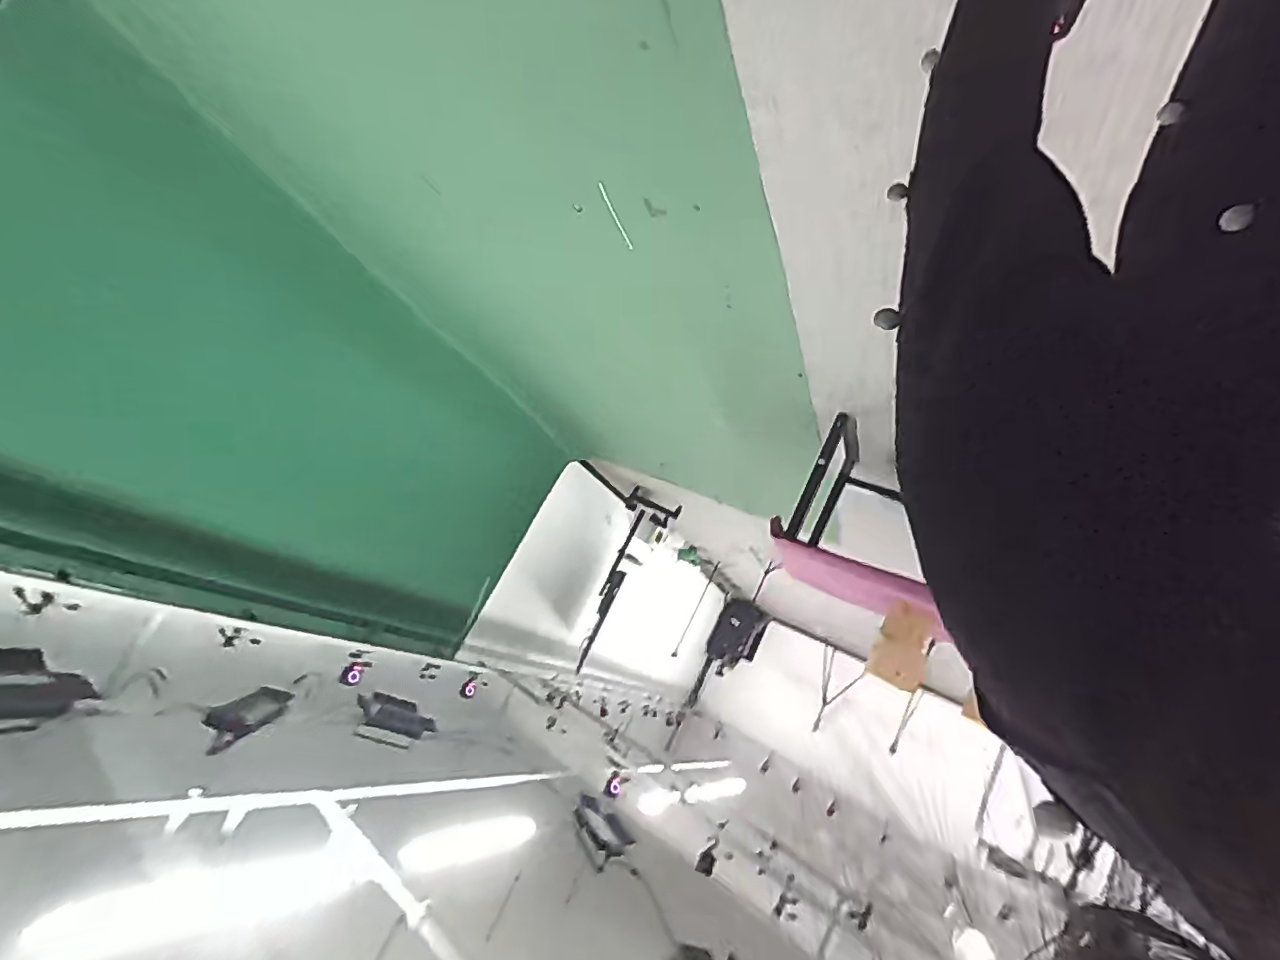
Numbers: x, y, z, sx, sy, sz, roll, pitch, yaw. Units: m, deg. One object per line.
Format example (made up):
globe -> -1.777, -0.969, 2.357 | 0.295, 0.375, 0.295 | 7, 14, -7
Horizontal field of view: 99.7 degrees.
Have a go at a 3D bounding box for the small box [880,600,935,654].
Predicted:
small box -> 1.137, 0.632, 2.302 | 0.168, 0.176, 0.179 | 21, 165, 29

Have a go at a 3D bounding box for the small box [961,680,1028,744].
small box -> 1.366, 0.889, 2.086 | 0.179, 0.176, 0.168 | 18, 163, 37

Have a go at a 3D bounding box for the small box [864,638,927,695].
small box -> 1.069, 0.776, 2.259 | 0.179, 0.176, 0.168 | 25, 167, 18
